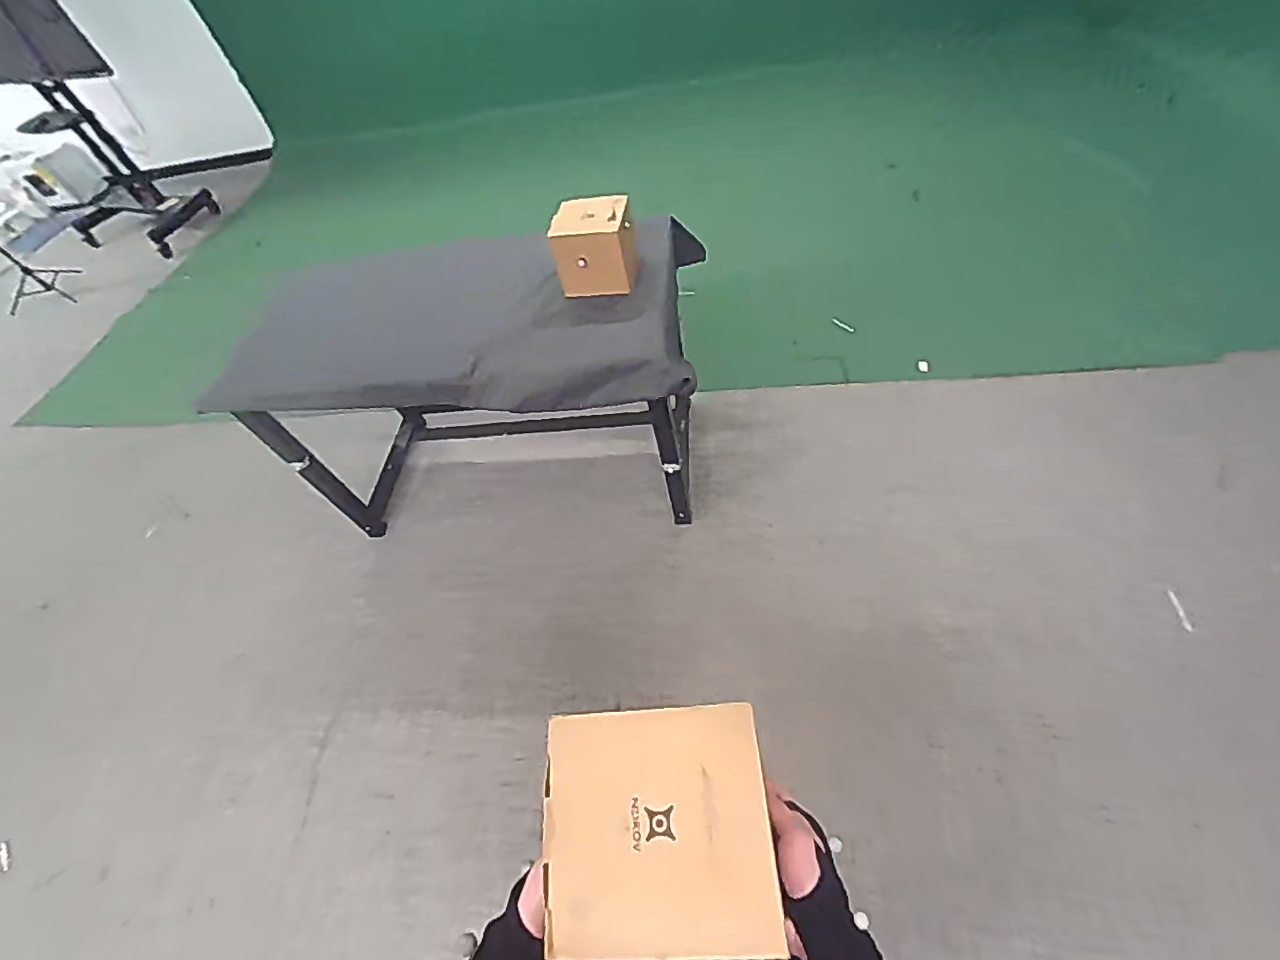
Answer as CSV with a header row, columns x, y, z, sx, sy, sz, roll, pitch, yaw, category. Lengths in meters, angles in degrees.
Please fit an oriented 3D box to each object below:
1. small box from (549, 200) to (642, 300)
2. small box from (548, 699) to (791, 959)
x,y,z,sx,sy,sz,roll,pitch,yaw,category
-0.105,-0.573,1.363,0.179,0.176,0.168,0,55,14,small box
0.027,0.299,0.487,0.179,0.176,0.168,-9,63,5,small box
